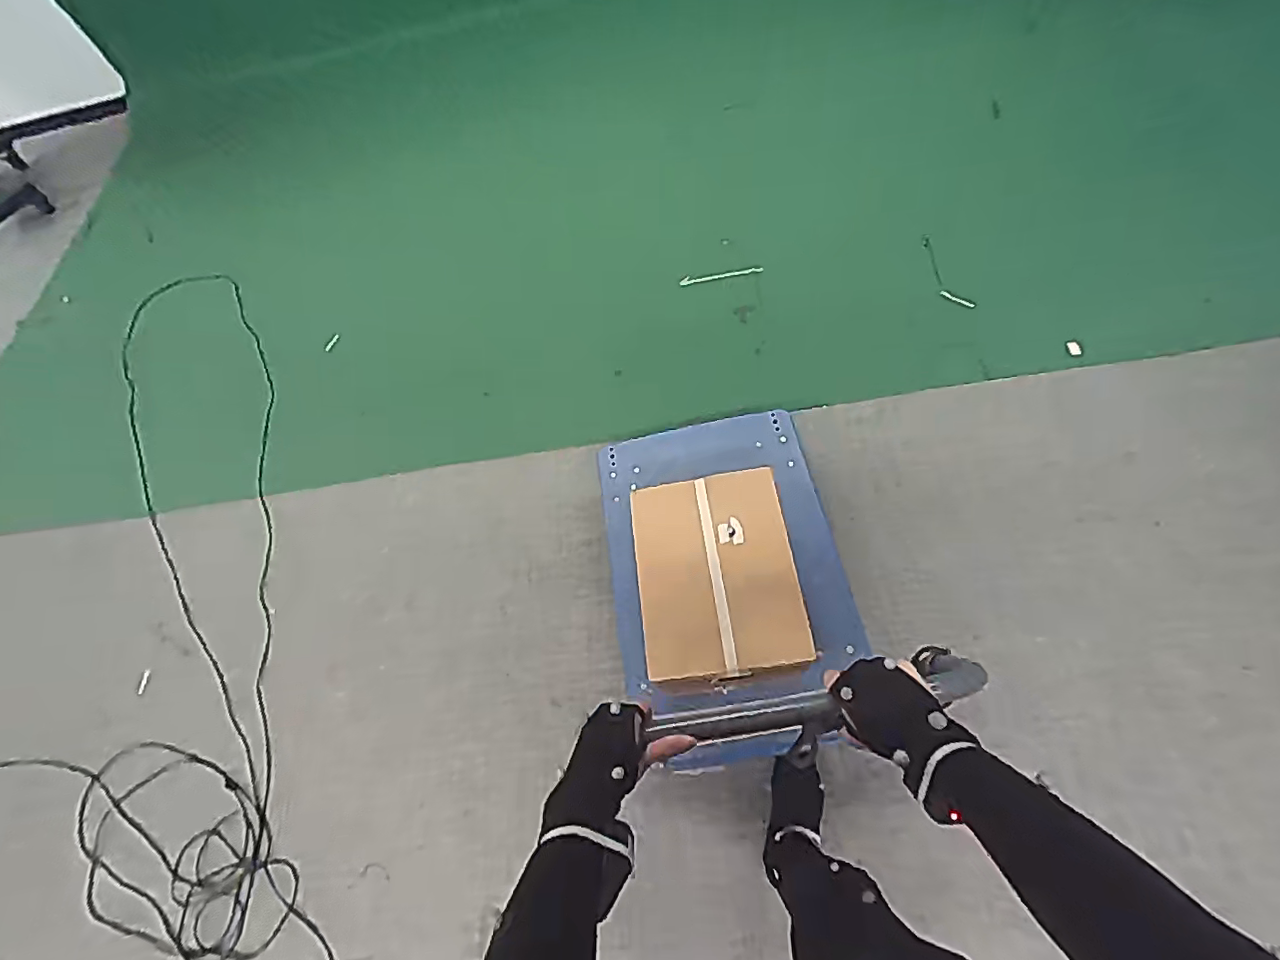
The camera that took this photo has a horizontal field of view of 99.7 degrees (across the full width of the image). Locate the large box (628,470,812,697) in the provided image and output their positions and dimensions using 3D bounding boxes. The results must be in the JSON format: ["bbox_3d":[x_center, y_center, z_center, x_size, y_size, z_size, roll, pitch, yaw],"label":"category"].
[{"bbox_3d":[0.172,0.246,1.221,0.320,0.320,0.408,-10,62,6],"label":"large box"}]
